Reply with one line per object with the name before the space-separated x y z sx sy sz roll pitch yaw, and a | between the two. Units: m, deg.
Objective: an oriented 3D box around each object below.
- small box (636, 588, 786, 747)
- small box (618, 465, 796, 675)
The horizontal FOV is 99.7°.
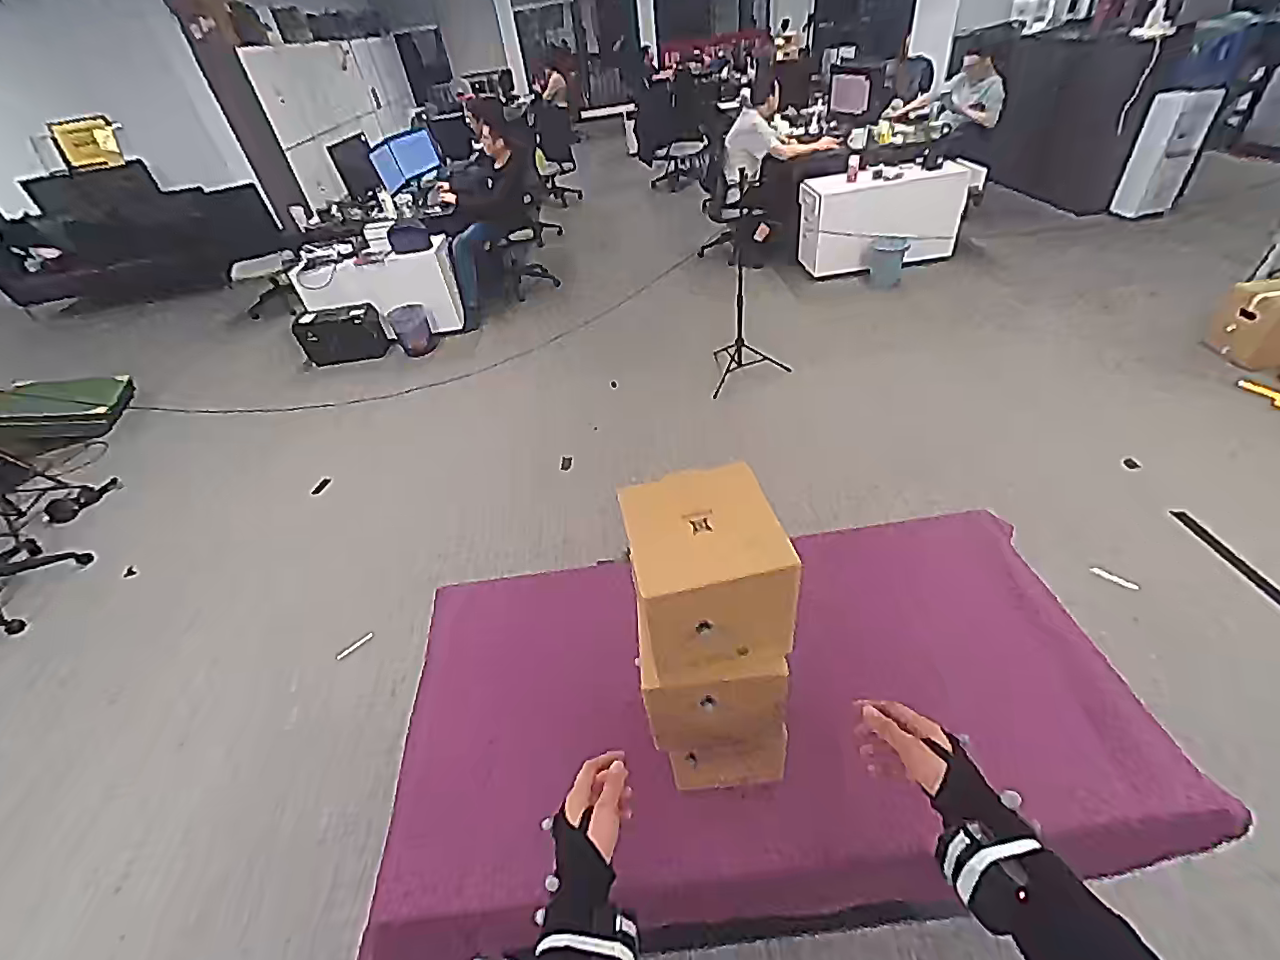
small box | 0.093 0.247 0.743 0.179 0.176 0.168 -7 40 3
small box | 0.077 0.112 0.651 0.168 0.176 0.179 -12 39 -3
